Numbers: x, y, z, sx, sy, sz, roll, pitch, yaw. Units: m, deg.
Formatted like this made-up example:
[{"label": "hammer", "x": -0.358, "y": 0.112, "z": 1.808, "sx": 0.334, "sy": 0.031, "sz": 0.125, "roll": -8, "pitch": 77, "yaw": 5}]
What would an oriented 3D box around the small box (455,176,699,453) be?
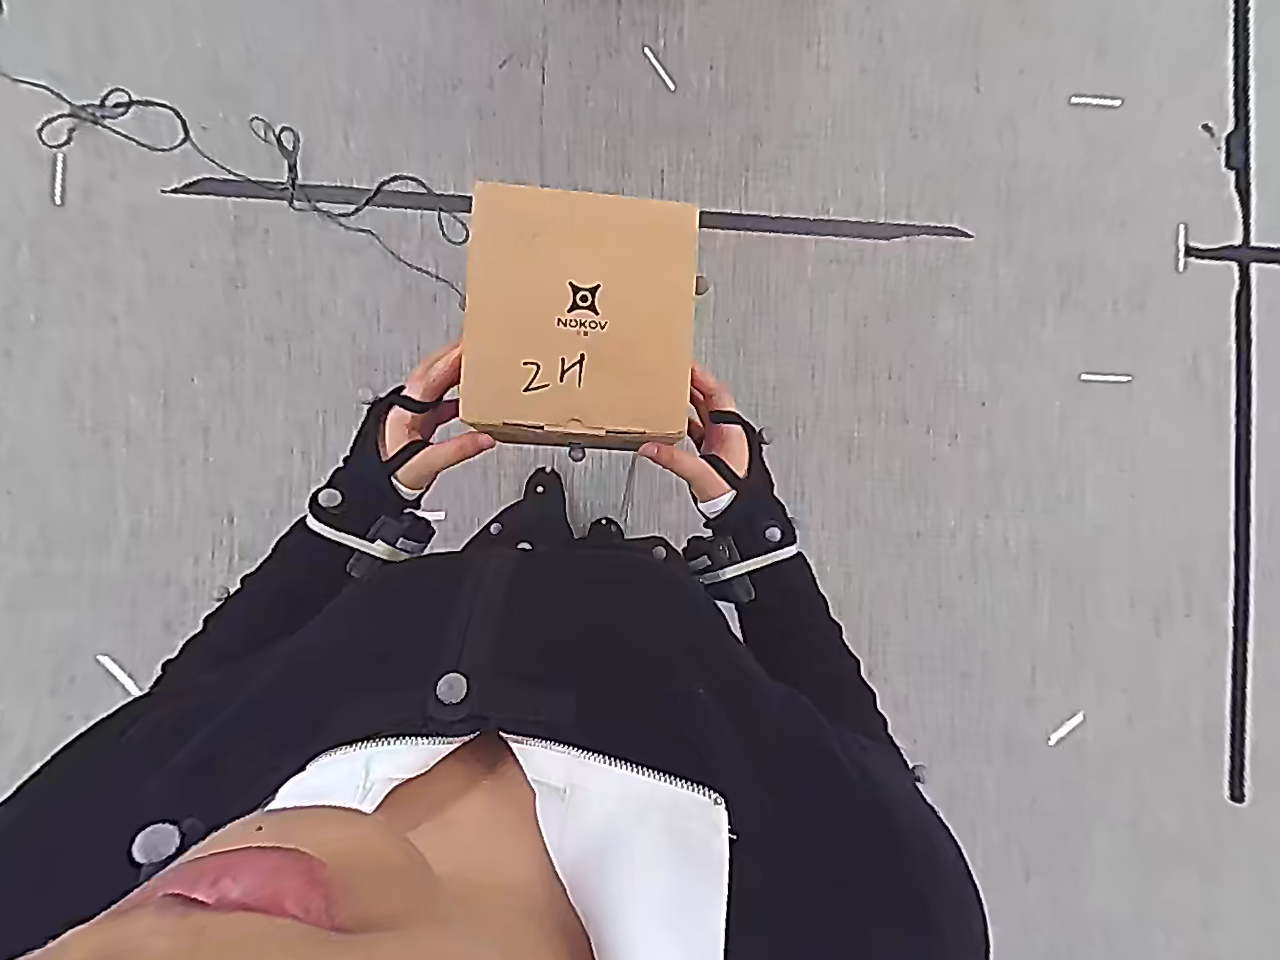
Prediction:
[{"label": "small box", "x": -0.050, "y": -0.122, "z": 0.466, "sx": 0.168, "sy": 0.176, "sz": 0.179, "roll": 3, "pitch": 88, "yaw": -4}]
